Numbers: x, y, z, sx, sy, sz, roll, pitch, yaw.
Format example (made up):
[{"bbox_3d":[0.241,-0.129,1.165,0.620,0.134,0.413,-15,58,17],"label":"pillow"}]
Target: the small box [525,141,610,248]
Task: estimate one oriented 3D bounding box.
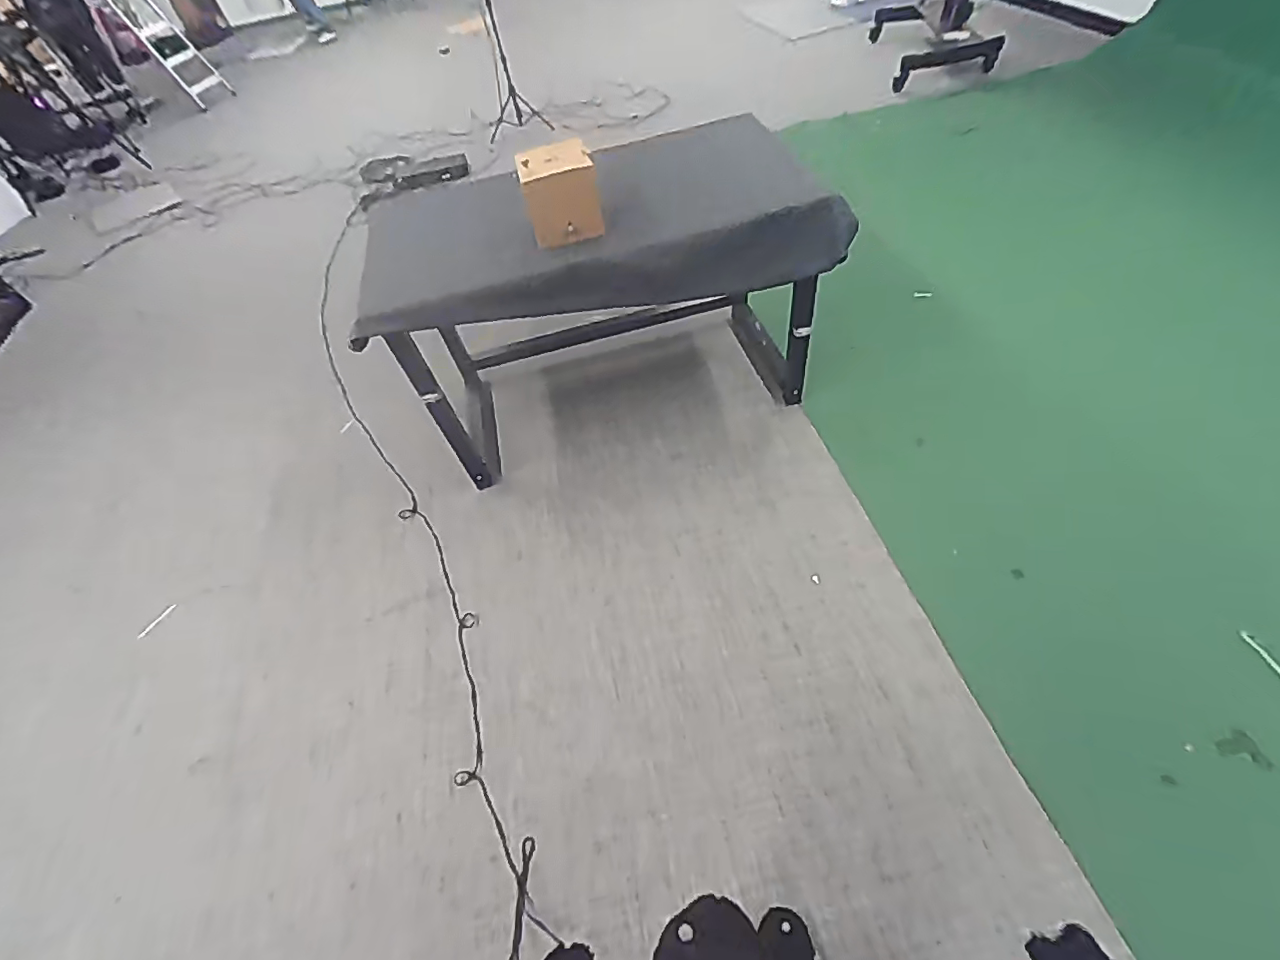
[{"bbox_3d":[-0.176,-0.711,1.353,0.179,0.176,0.168,-15,51,-2],"label":"small box"}]
